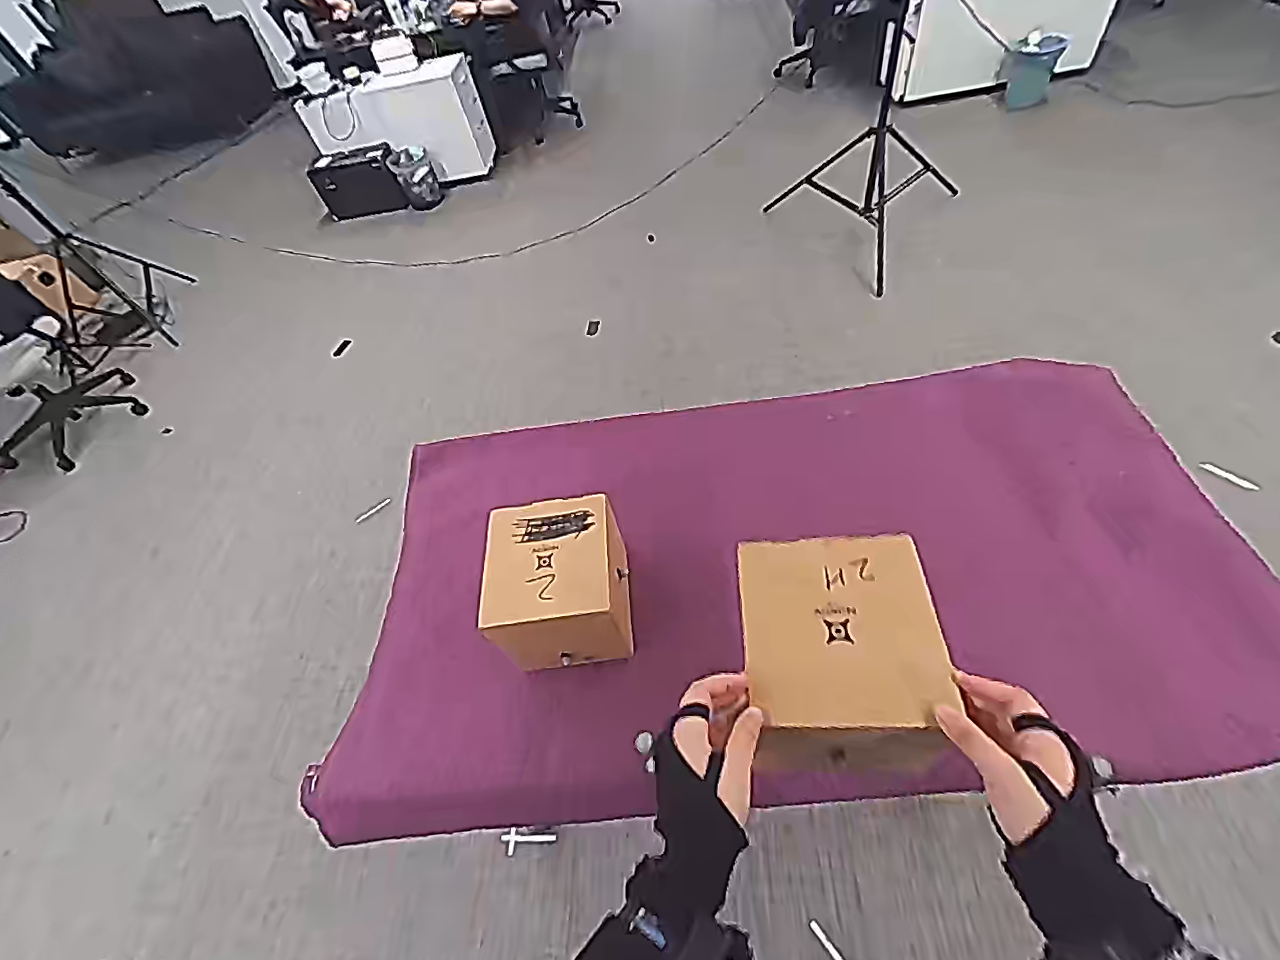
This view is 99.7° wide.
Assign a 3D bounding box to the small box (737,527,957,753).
[{"bbox_3d":[0.188,0.167,0.547,0.168,0.176,0.179,-4,52,9],"label":"small box"}]

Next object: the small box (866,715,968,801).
[{"bbox_3d":[0.604,0.599,1.204,0.168,0.176,0.179,1,53,13],"label":"small box"}]
